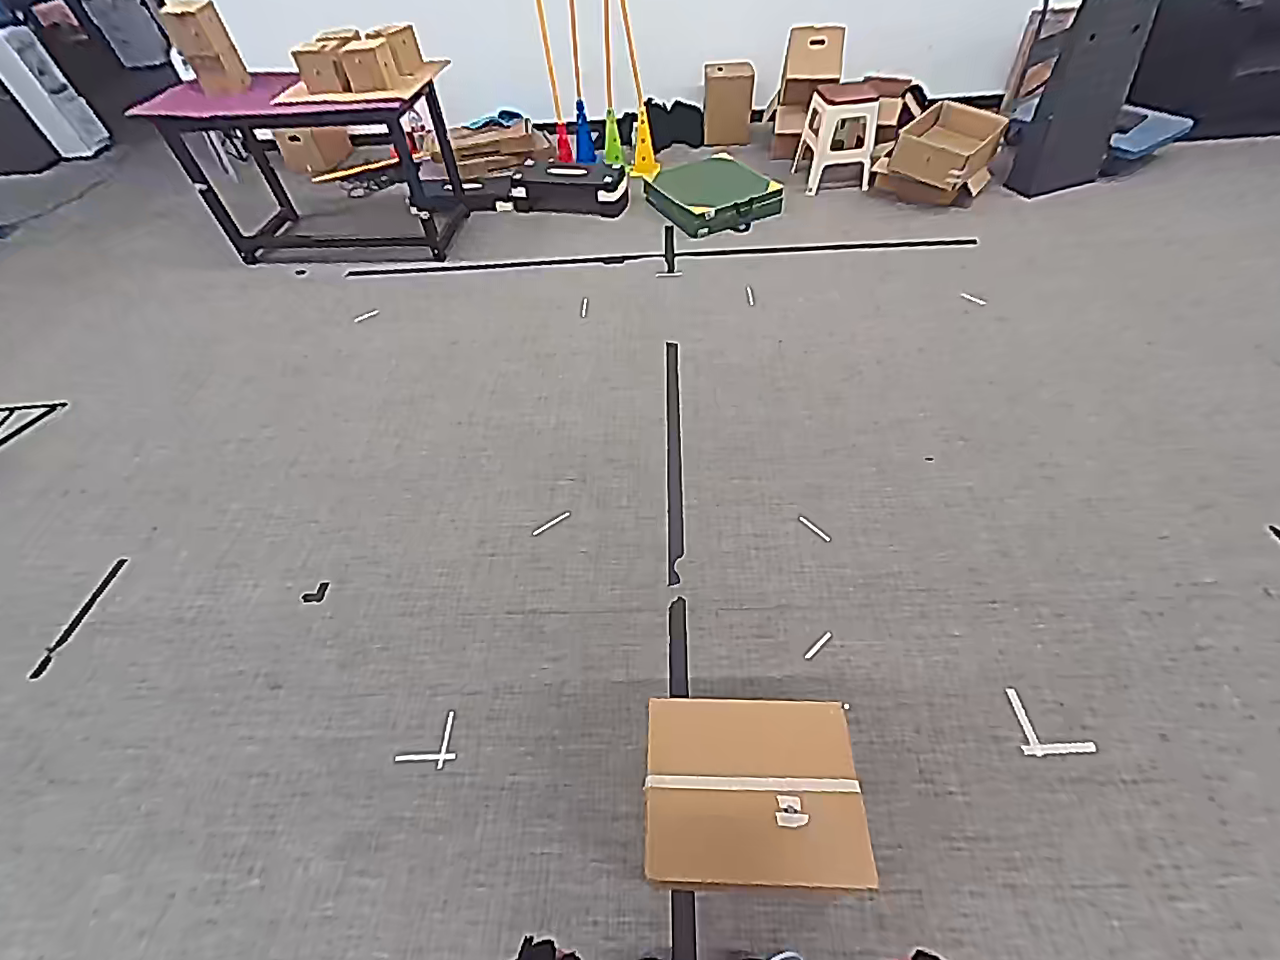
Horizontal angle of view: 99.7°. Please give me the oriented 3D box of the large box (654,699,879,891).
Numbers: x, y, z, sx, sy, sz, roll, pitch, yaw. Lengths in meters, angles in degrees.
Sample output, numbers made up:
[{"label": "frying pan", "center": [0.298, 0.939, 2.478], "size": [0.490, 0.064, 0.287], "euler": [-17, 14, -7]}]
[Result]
[{"label": "large box", "center": [0.231, 0.681, 1.162], "size": [0.408, 0.320, 0.320], "euler": [0, 52, 3]}]
